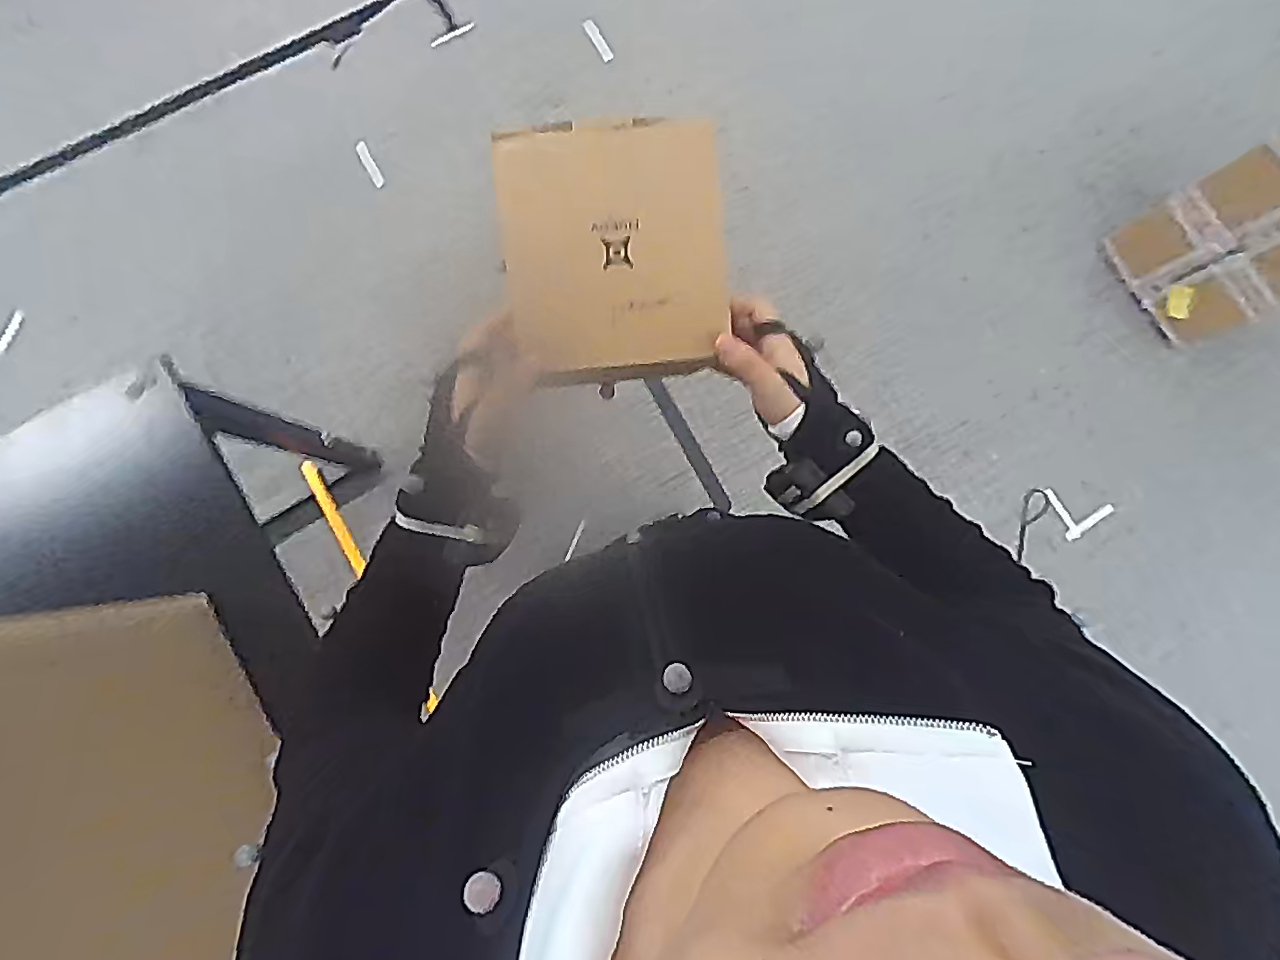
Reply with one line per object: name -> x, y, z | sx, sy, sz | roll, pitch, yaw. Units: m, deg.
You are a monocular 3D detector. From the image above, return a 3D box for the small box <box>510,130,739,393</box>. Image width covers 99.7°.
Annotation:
small box -> -0.016, -0.177, 0.486 | 0.168, 0.176, 0.179 | -5, 96, -4
